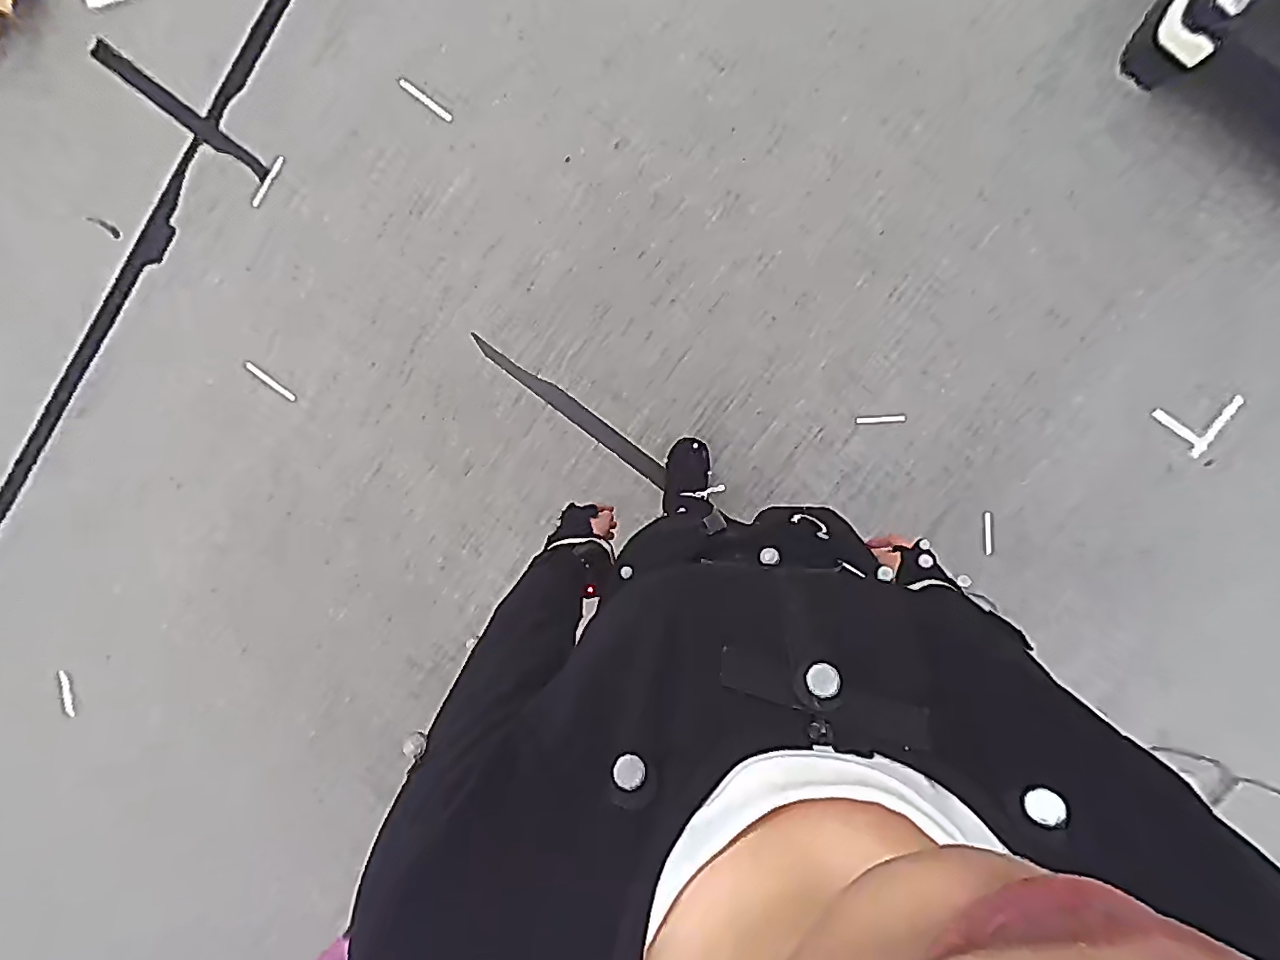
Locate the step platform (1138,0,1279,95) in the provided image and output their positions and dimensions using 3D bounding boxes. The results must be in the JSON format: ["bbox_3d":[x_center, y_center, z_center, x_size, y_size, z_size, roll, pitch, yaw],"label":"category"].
[{"bbox_3d":[1.452,-0.869,1.127,0.684,0.204,0.286,36,96,-1],"label":"step platform"}]
